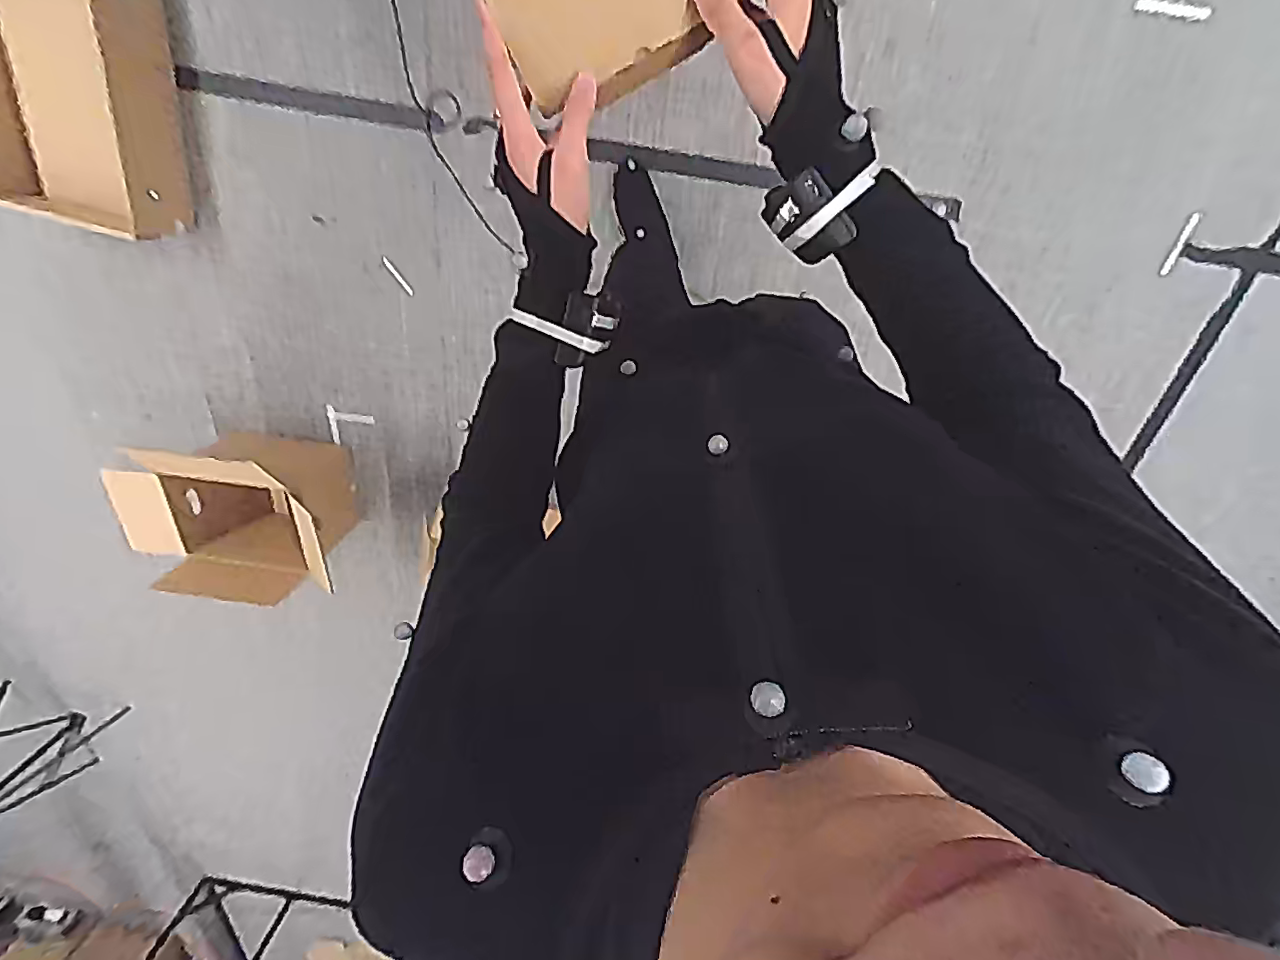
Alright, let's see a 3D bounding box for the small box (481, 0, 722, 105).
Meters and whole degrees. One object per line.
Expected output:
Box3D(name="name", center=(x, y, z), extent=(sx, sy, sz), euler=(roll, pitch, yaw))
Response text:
Box3D(name="small box", center=(-0.042, -0.408, 0.386), extent=(0.168, 0.176, 0.179), euler=(-21, 125, 13))
